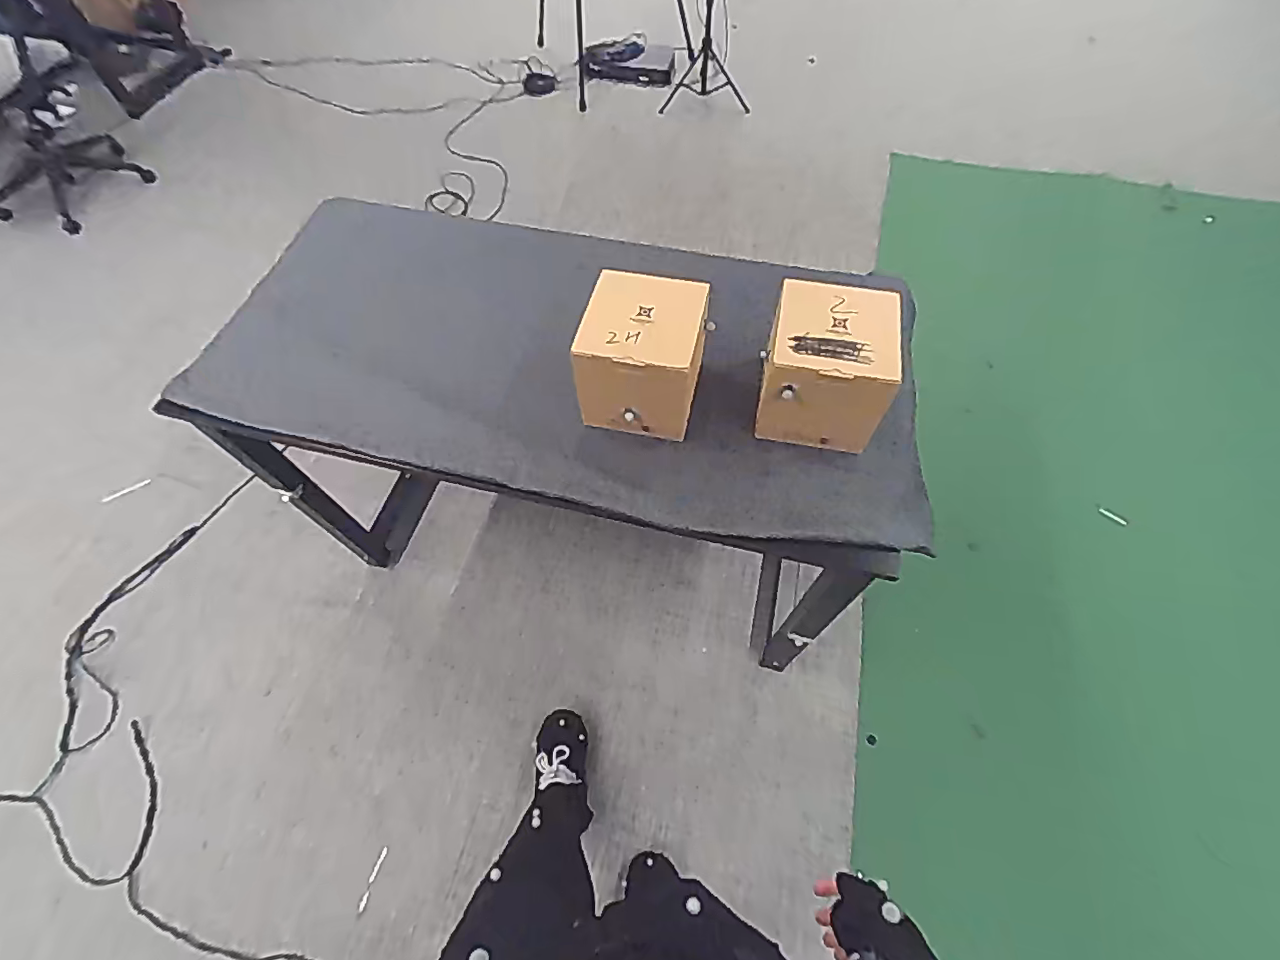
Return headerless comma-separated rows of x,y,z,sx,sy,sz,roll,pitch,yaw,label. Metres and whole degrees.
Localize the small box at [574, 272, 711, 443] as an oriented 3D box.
0.008,-0.185,0.830,0.168,0.176,0.179,10,60,8,small box
